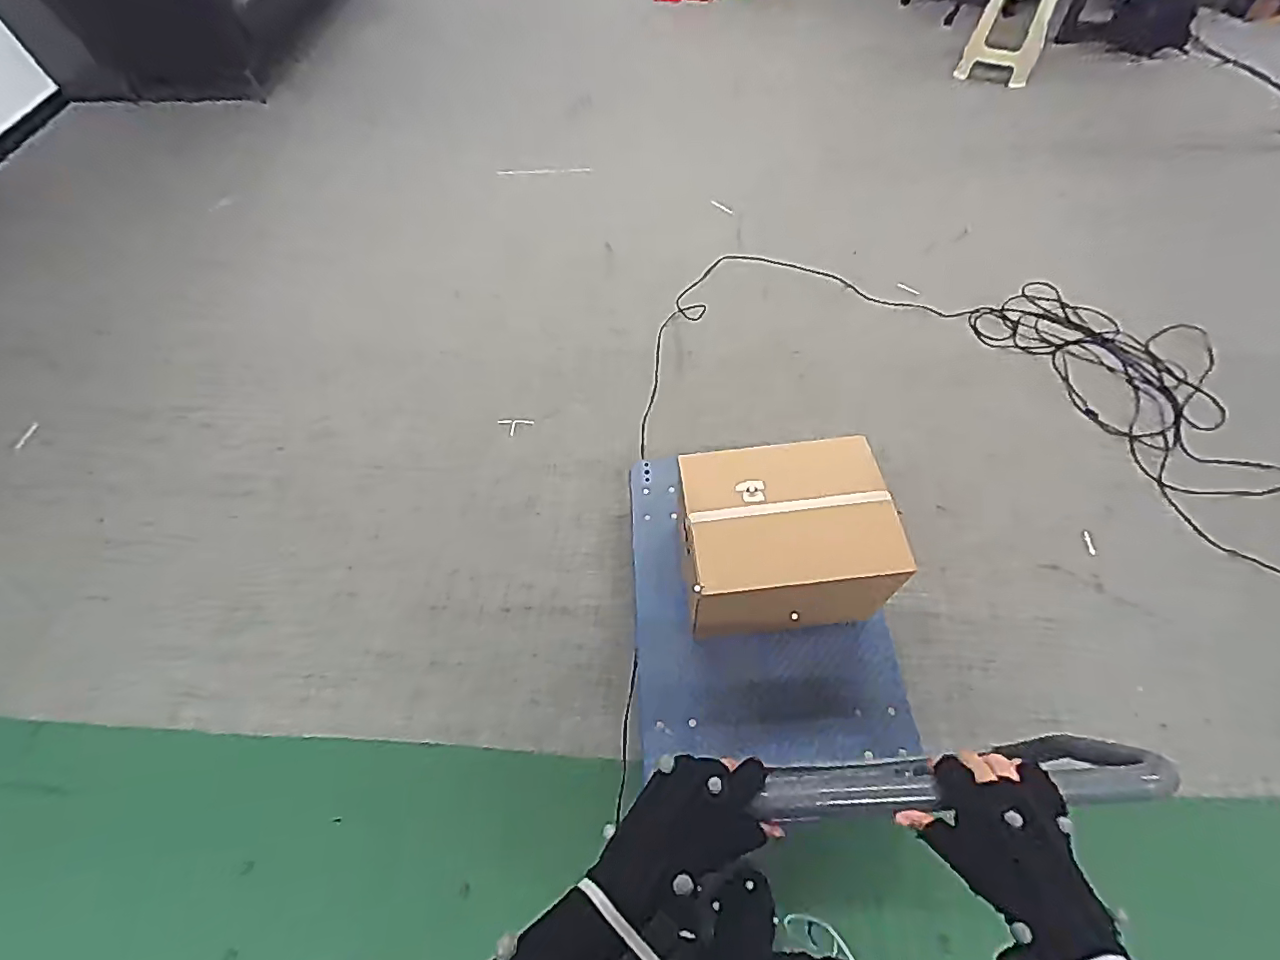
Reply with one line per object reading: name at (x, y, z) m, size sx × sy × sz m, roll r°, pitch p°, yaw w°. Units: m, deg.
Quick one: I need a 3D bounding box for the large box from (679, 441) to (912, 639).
large box at (0.306, 0.145, 1.206) m, size 0.408 × 0.320 × 0.320 m, roll -7°, pitch 58°, yaw 0°
